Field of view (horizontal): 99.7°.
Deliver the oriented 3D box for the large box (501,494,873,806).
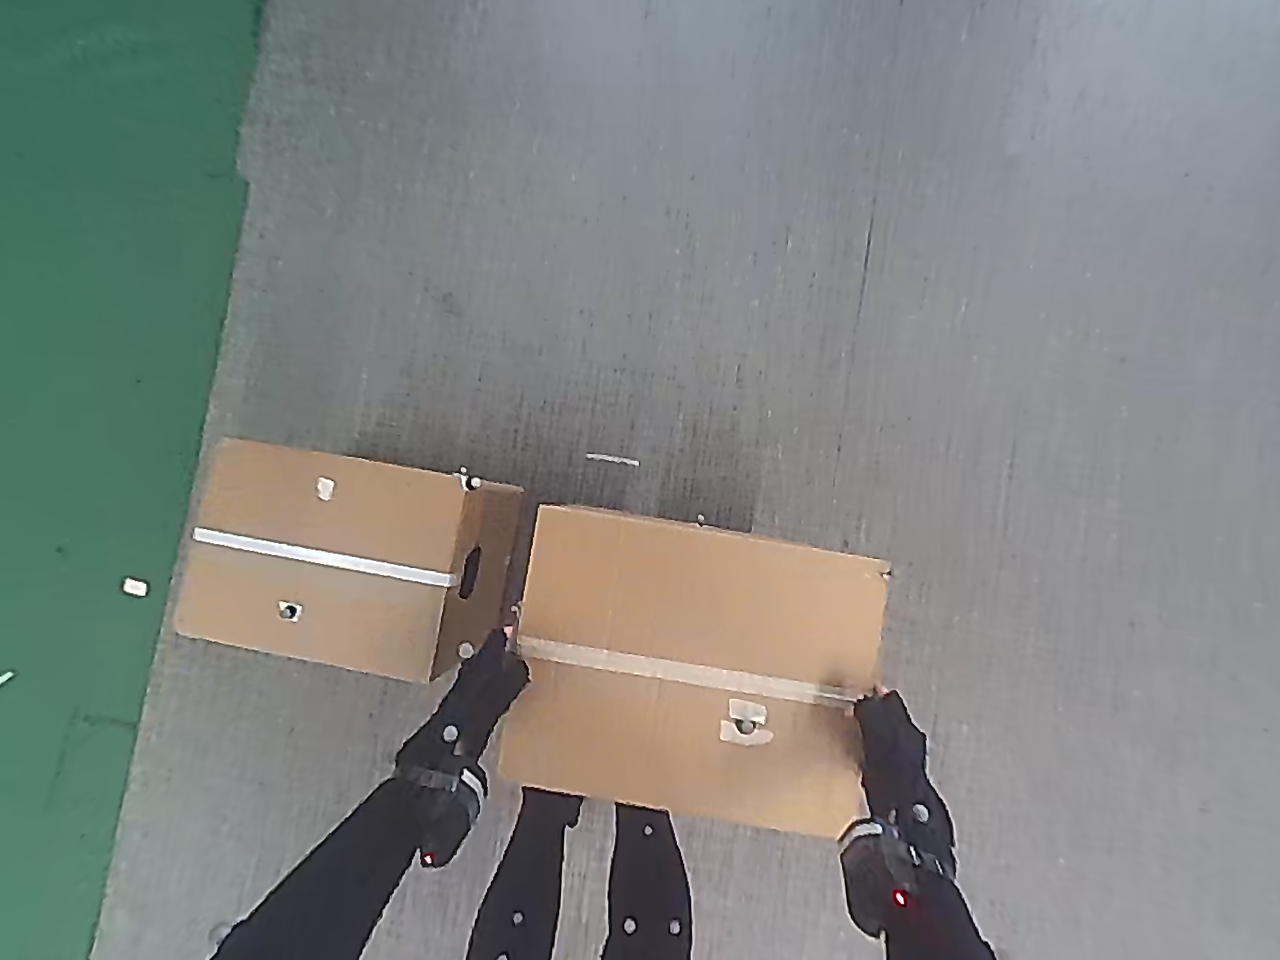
[{"bbox_3d":[0.053,0.205,0.776,0.408,0.320,0.320,10,88,-1],"label":"large box"}]
